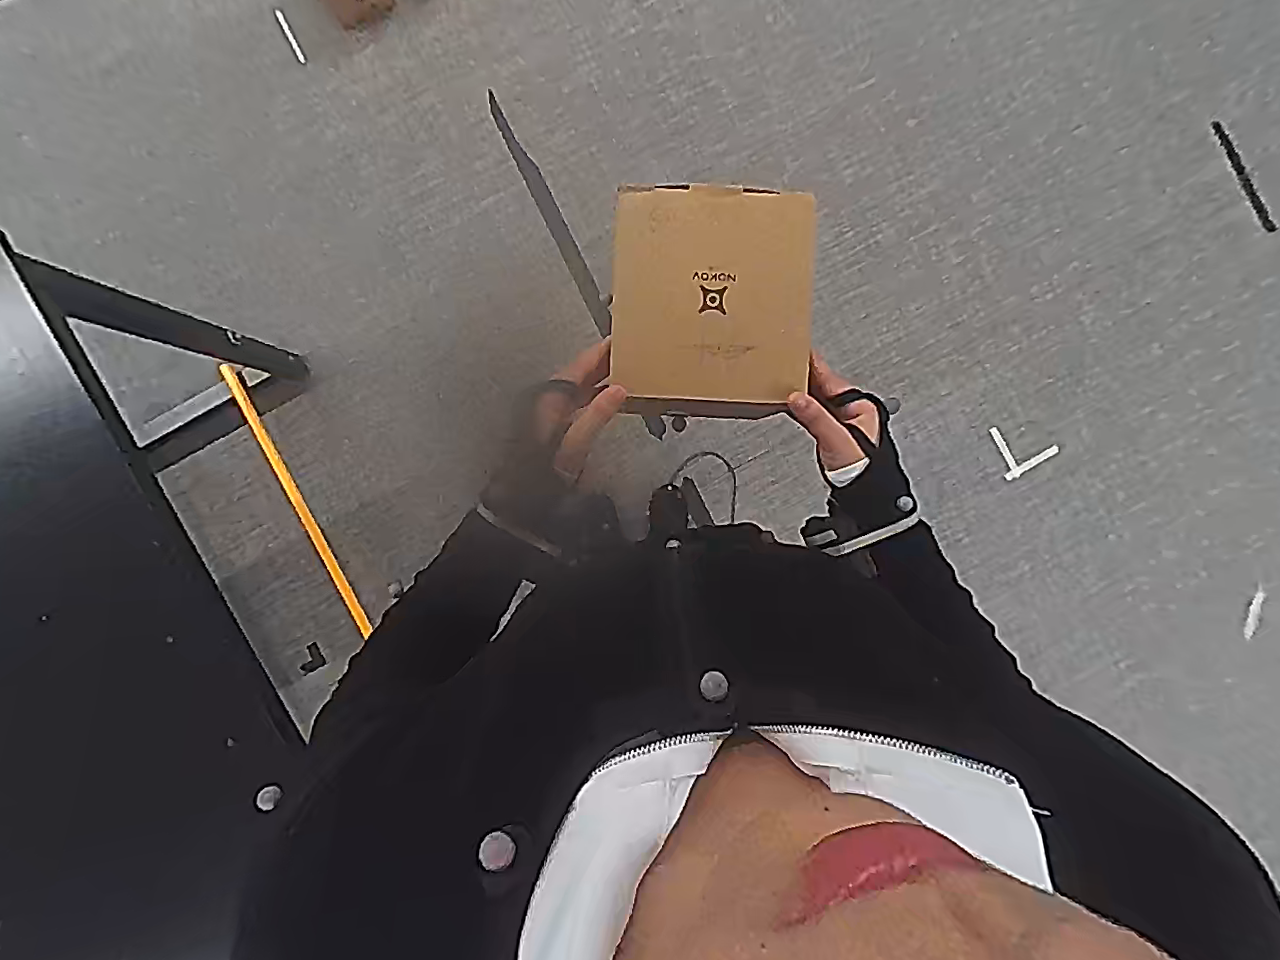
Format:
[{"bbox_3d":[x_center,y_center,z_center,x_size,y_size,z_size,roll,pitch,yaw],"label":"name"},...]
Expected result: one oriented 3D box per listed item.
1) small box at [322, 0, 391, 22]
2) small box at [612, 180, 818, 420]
[{"bbox_3d":[-0.771,-1.322,1.372,0.168,0.176,0.179,-29,92,-1],"label":"small box"},{"bbox_3d":[0.059,-0.156,0.524,0.168,0.176,0.179,3,93,-1],"label":"small box"}]
